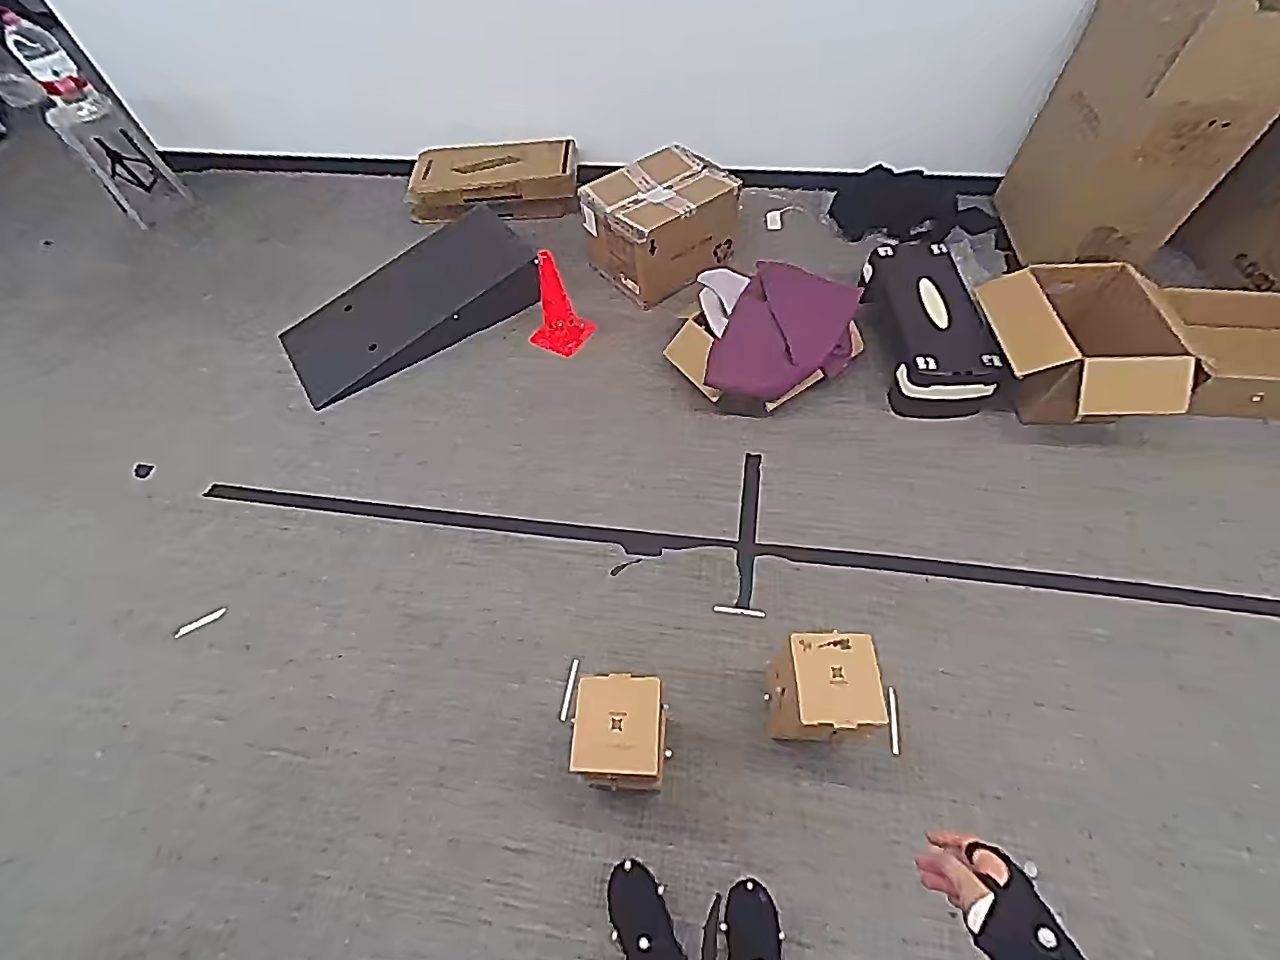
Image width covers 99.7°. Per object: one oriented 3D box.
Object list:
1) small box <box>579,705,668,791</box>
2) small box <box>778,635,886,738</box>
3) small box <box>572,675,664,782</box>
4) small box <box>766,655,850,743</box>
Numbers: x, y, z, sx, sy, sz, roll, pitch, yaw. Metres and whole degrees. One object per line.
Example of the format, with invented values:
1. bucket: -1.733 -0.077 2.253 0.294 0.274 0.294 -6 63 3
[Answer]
1. small box: -0.030 0.608 1.236 0.179 0.176 0.168 4 58 5
2. small box: 0.390 0.435 1.130 0.168 0.176 0.179 0 58 3
3. small box: -0.037 0.511 1.105 0.168 0.176 0.179 0 59 5
4. small box: 0.401 0.516 1.272 0.179 0.176 0.168 1 57 4
